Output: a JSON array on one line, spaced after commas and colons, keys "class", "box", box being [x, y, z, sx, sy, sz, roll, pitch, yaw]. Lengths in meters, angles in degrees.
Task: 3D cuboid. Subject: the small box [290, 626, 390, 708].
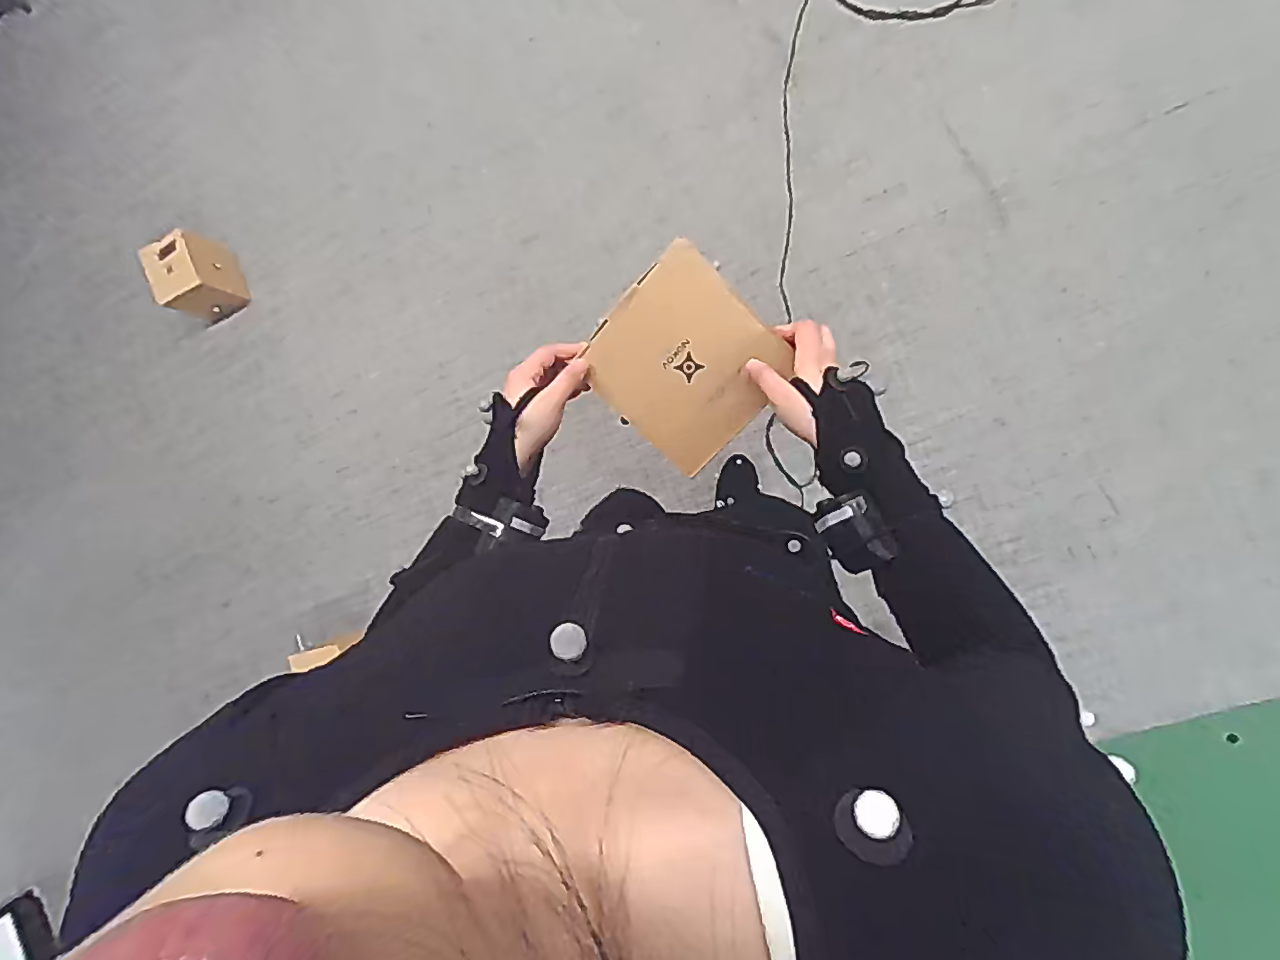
[{"class": "small box", "box": [-0.887, 0.551, 1.610, 0.179, 0.176, 0.168, -16, 89, 11]}]

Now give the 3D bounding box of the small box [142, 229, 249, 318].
[{"class": "small box", "box": [-1.361, -0.627, 1.665, 0.168, 0.176, 0.179, -21, 89, 11]}]

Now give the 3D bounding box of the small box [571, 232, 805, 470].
[{"class": "small box", "box": [0.051, -0.143, 0.611, 0.179, 0.176, 0.168, 41, 107, -9]}]
